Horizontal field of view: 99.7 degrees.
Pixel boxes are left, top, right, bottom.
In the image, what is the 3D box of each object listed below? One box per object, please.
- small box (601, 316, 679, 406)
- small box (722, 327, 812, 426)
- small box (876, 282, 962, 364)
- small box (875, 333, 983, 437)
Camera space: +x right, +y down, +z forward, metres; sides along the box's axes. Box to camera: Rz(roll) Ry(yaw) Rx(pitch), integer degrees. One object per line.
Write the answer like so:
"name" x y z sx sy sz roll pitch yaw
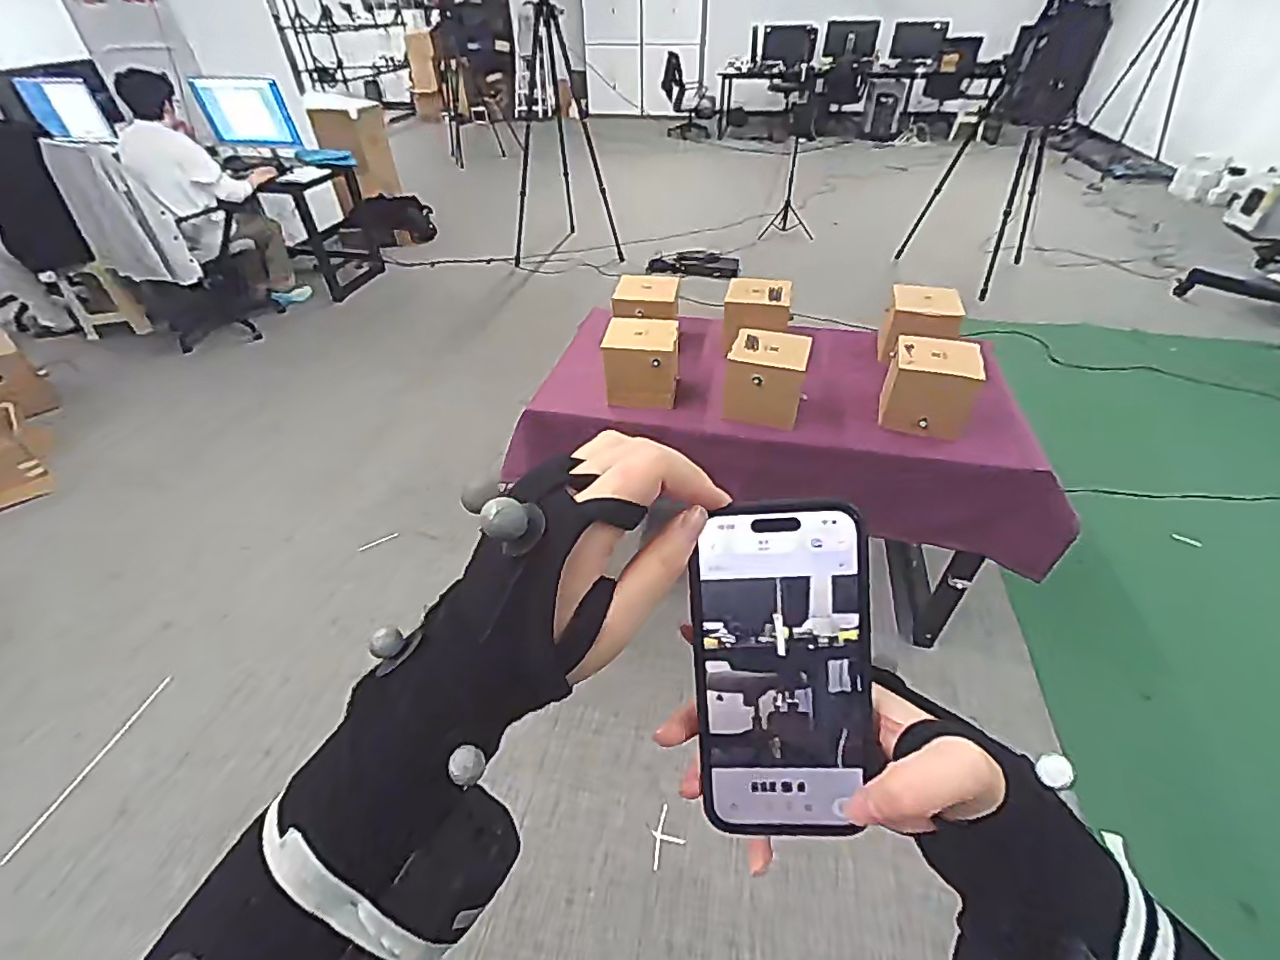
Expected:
"small box" 0.003 -0.304 1.382 0.179 0.176 0.168 5 42 5
"small box" 0.304 -0.251 1.313 0.179 0.176 0.168 13 44 14
"small box" 0.759 -0.425 1.492 0.168 0.176 0.179 10 44 14
"small box" 0.672 -0.222 1.270 0.179 0.176 0.168 13 44 15
